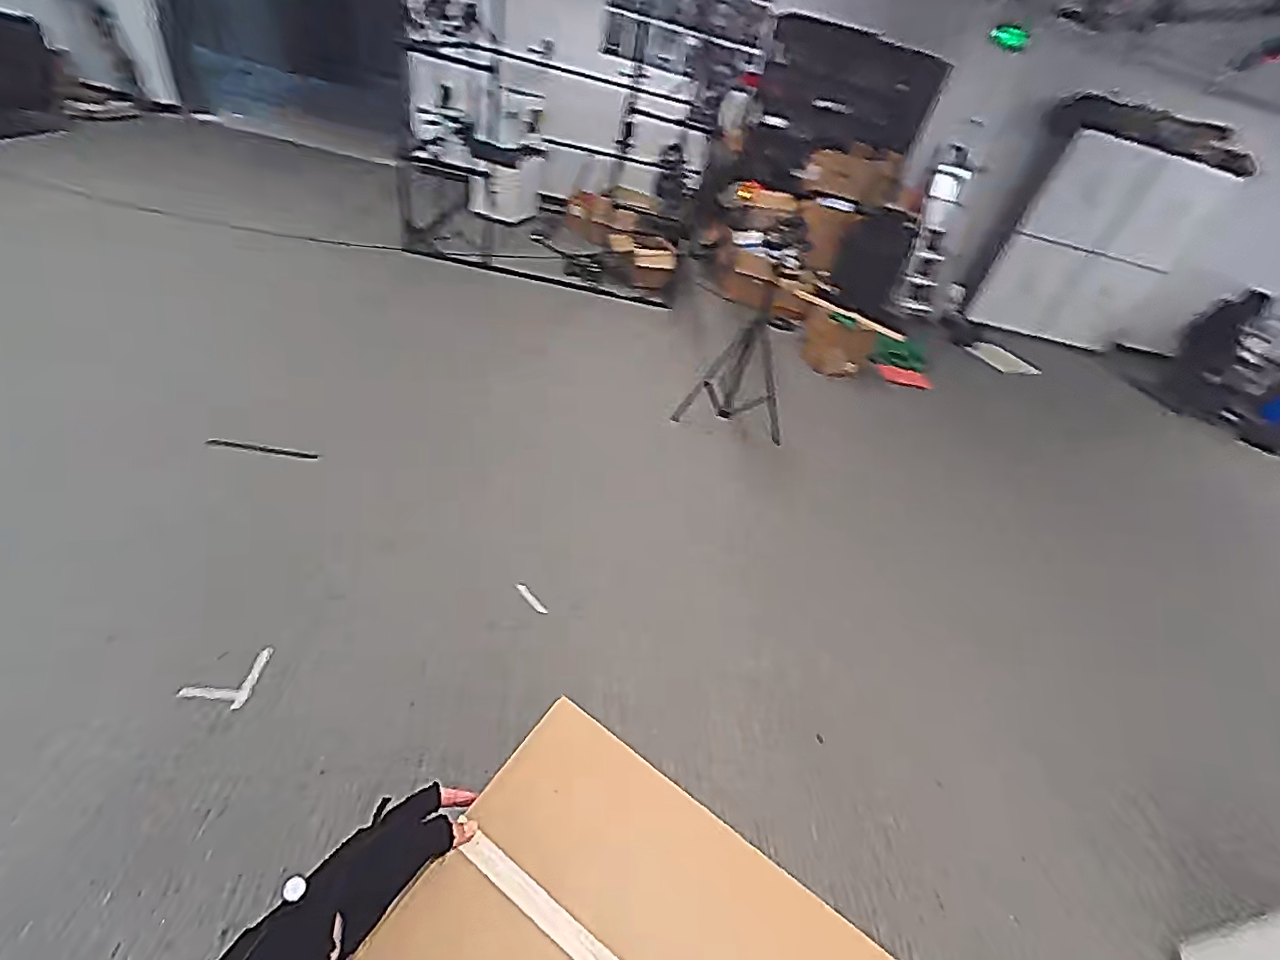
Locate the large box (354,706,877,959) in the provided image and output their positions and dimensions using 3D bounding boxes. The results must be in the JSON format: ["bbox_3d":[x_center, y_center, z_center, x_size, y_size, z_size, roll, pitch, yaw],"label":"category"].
[{"bbox_3d":[-0.046,0.531,0.566,0.408,0.320,0.320,32,47,14],"label":"large box"}]
